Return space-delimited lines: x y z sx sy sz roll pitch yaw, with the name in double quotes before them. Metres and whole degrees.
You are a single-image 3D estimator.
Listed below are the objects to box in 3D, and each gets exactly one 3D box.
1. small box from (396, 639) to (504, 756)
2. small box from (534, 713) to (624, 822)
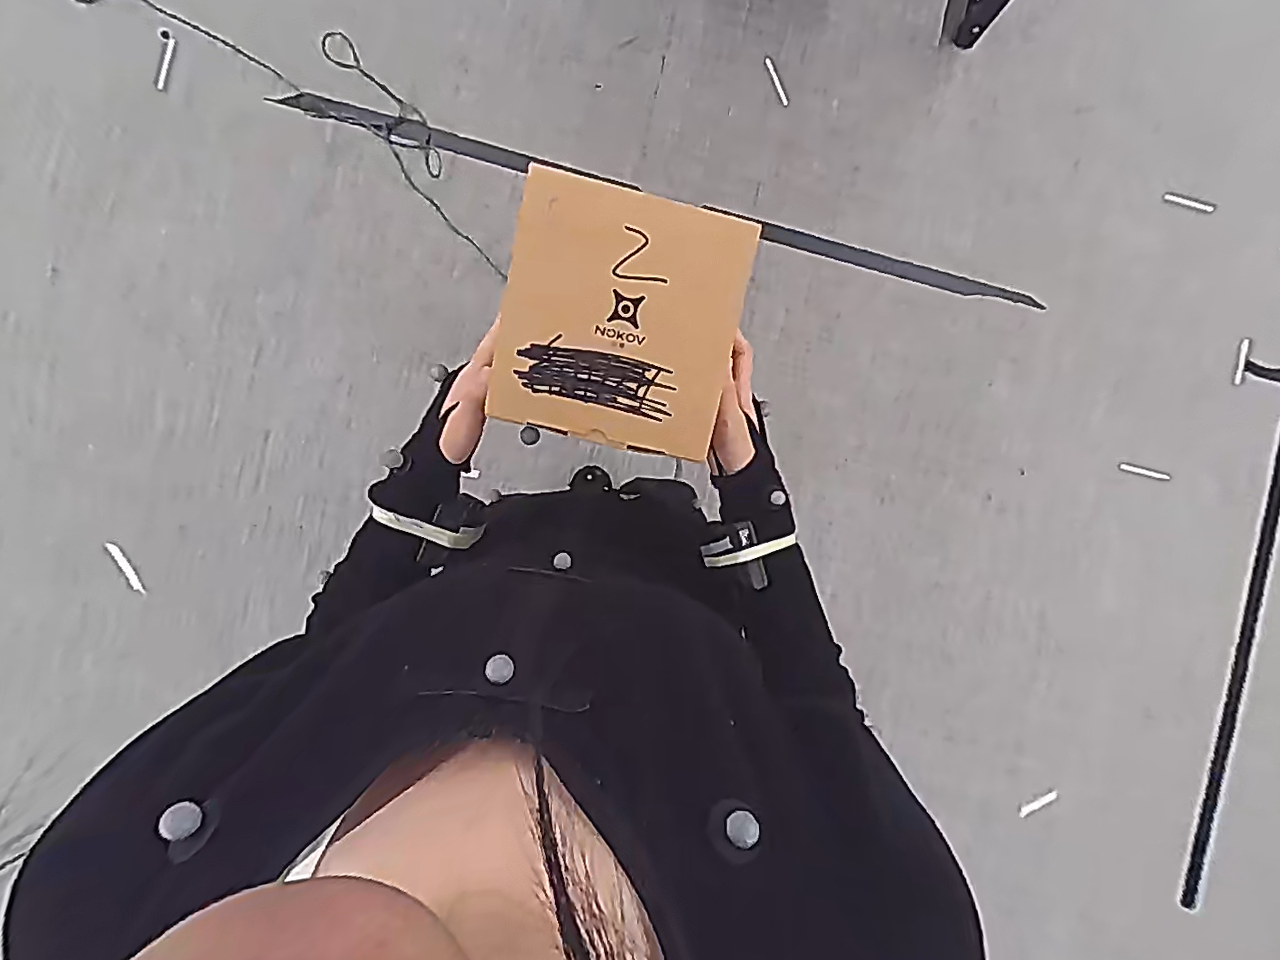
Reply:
"small box" -0.416 0.480 1.216 0.168 0.176 0.179 16 88 -4
"small box" -0.155 0.730 1.393 0.179 0.176 0.168 21 88 -5
